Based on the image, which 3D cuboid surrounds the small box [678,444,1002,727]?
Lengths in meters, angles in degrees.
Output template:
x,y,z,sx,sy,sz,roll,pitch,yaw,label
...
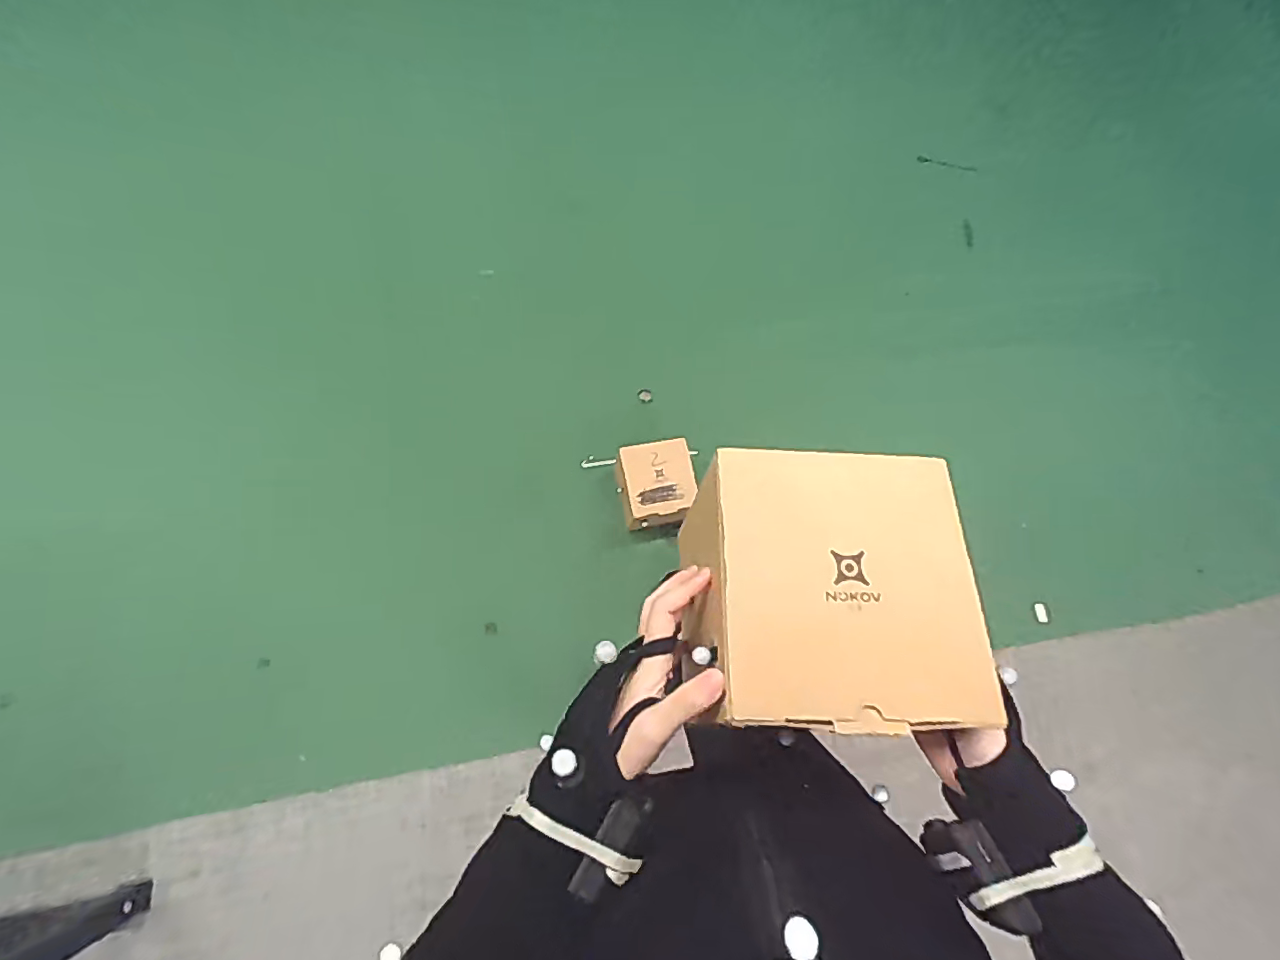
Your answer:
x,y,z,sx,sy,sz,roll,pitch,yaw,label
0.123,0.092,0.415,0.168,0.176,0.179,3,66,-5,small box
